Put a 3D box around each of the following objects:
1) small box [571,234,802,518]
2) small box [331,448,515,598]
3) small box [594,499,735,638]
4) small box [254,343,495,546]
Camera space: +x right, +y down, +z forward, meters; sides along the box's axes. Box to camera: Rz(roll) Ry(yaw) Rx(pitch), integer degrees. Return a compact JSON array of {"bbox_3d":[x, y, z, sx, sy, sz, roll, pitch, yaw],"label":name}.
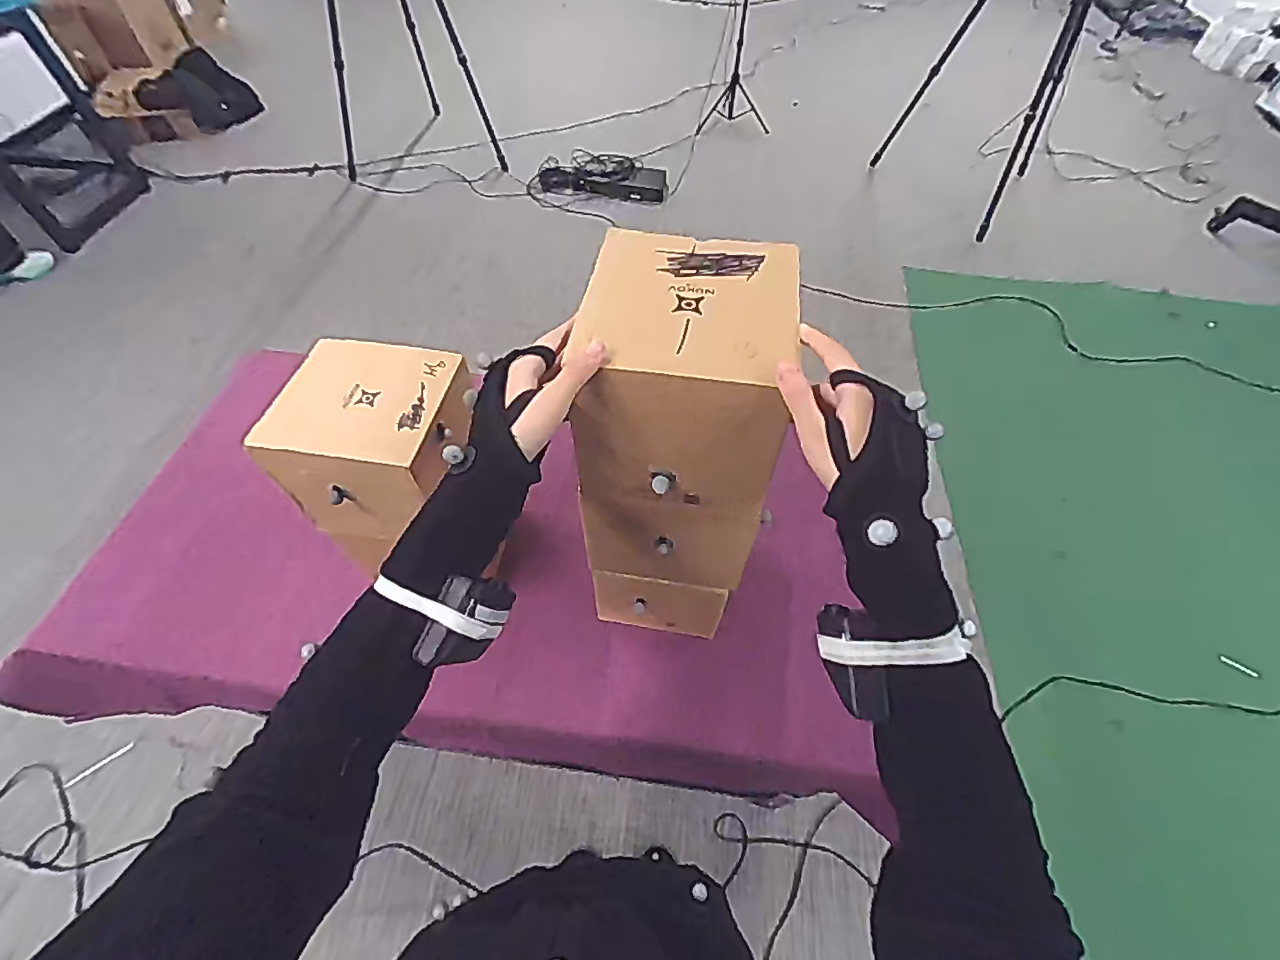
[{"bbox_3d":[0.042,-0.091,0.487,0.168,0.176,0.179,7,54,5],"label":"small box"},{"bbox_3d":[-0.292,0.057,0.779,0.179,0.176,0.168,7,54,4],"label":"small box"},{"bbox_3d":[0.039,0.102,0.755,0.168,0.176,0.179,8,54,5],"label":"small box"},{"bbox_3d":[-0.293,-0.038,0.645,0.179,0.176,0.168,8,54,4],"label":"small box"}]
